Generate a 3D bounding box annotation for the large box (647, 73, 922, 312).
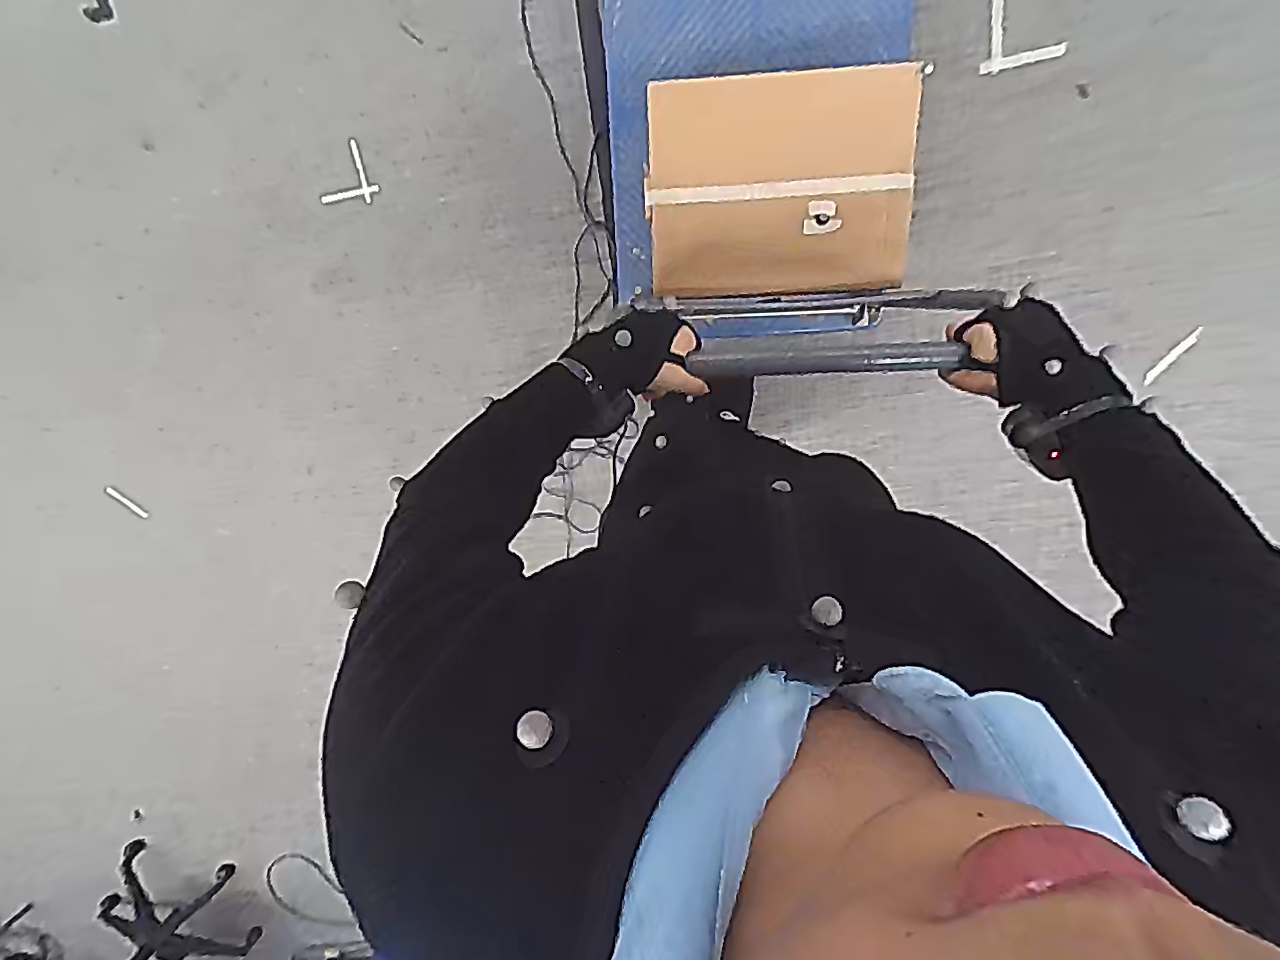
[{"bbox_3d":[0.225,-0.478,0.979,0.408,0.320,0.320,-2,108,4],"label":"large box"}]
